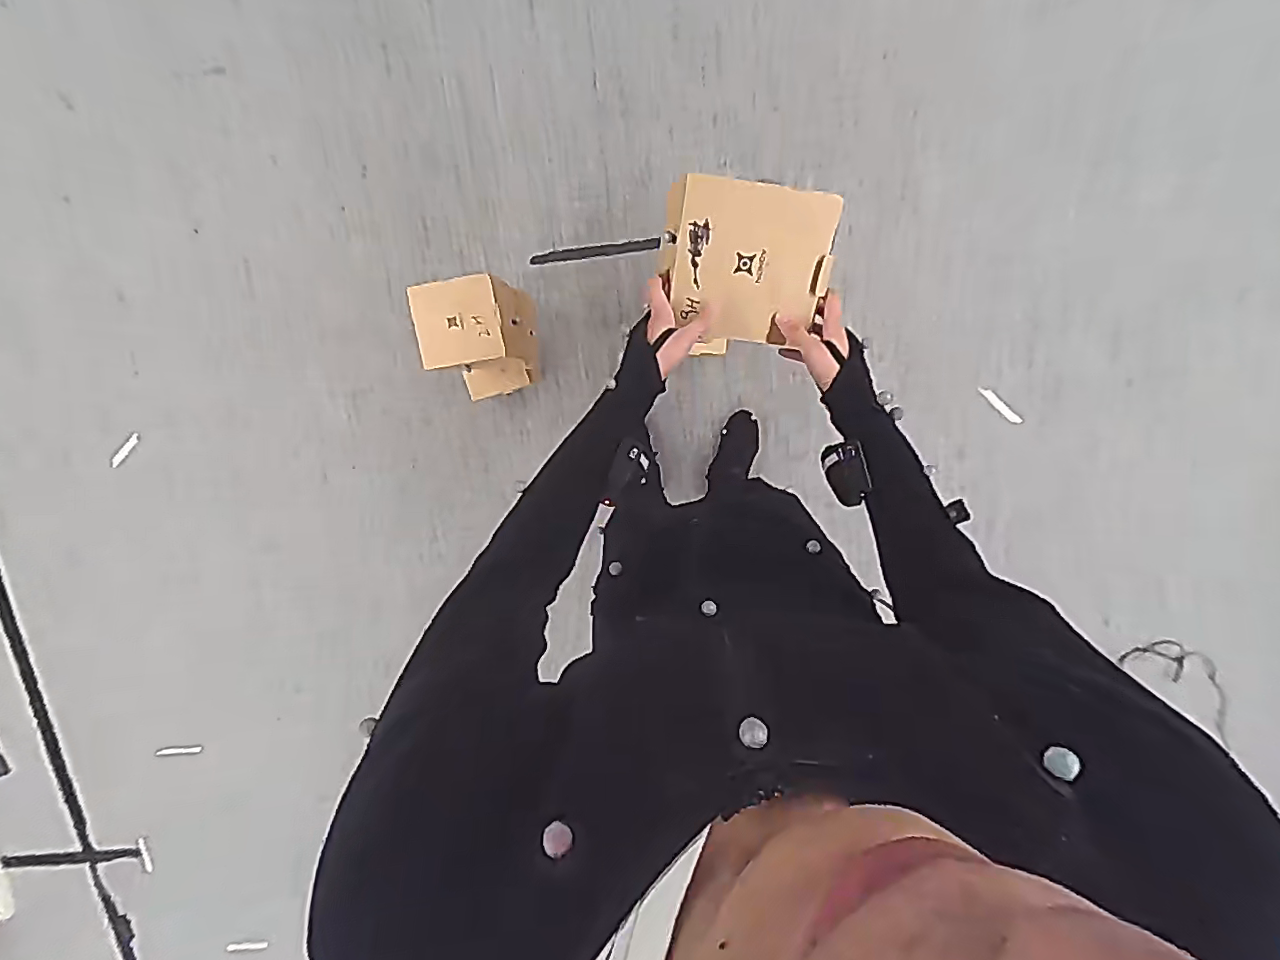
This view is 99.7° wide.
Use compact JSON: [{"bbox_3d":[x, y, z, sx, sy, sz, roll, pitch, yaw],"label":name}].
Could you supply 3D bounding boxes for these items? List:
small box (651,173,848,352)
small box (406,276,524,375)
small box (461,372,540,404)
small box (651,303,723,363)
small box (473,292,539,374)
[{"bbox_3d":[0.118,-0.264,0.664,0.179,0.176,0.168,5,113,-7],"label":"small box"},{"bbox_3d":[-0.363,-0.319,1.149,0.179,0.176,0.168,-9,99,3],"label":"small box"},{"bbox_3d":[-0.389,-0.315,1.483,0.168,0.176,0.179,-16,100,4],"label":"small box"},{"bbox_3d":[0.123,-0.408,1.461,0.179,0.176,0.168,-5,100,0],"label":"small box"},{"bbox_3d":[-0.345,-0.349,1.310,0.168,0.176,0.179,-2,100,2],"label":"small box"}]
